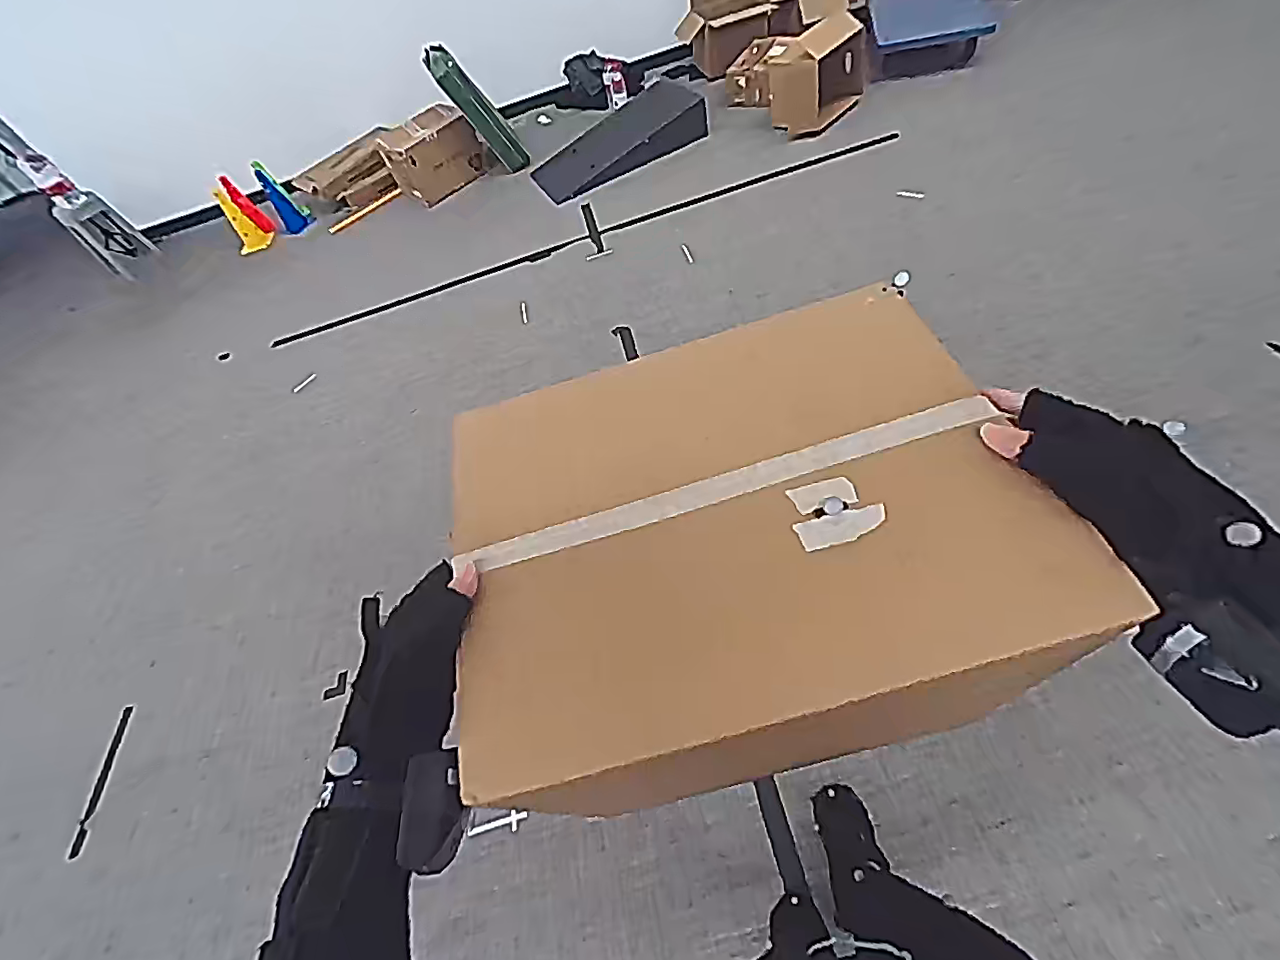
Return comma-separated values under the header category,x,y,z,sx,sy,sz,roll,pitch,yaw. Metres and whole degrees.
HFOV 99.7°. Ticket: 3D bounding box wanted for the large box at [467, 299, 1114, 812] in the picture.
category,x,y,z,sx,sy,sz,roll,pitch,yaw
large box,0.089,0.093,0.531,0.408,0.320,0.320,-17,56,2
